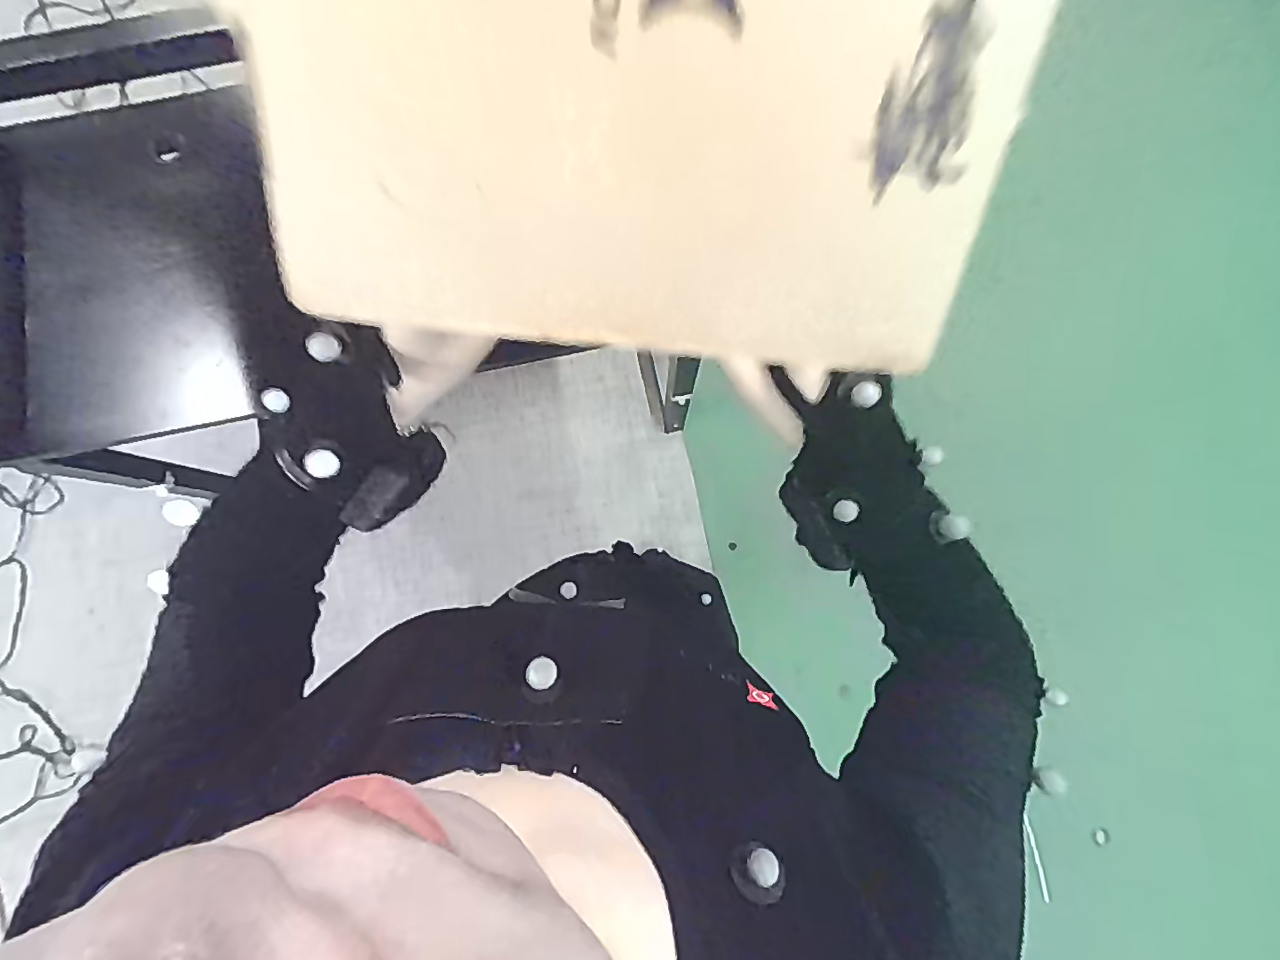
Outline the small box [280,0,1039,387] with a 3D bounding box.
[{"bbox_3d":[0.004,-0.146,0.195,0.179,0.176,0.168,6,118,-4],"label":"small box"}]
